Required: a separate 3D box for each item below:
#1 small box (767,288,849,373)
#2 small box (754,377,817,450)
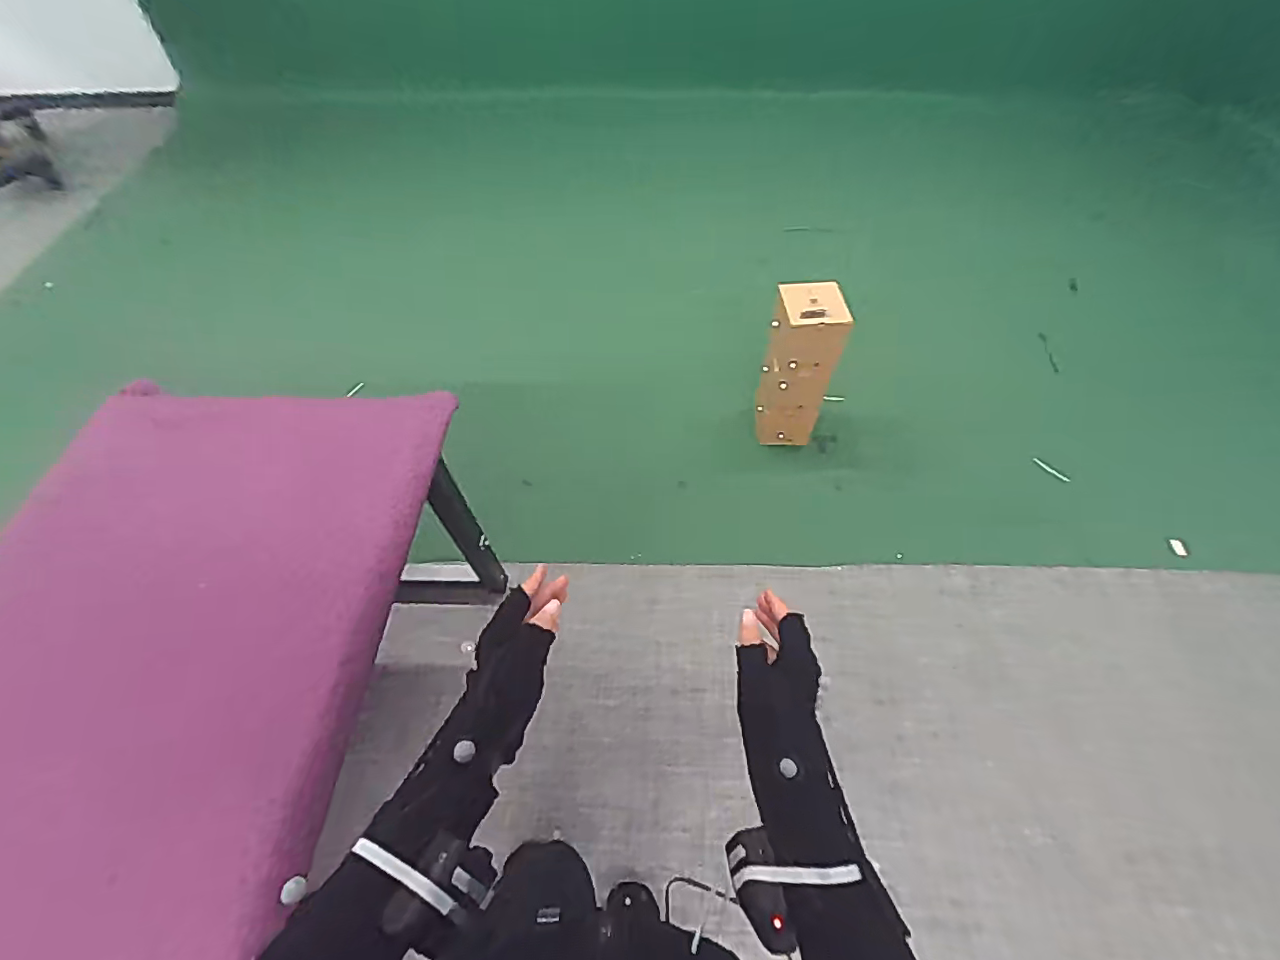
[{"bbox_3d":[0.469,-0.419,1.534,0.168,0.176,0.179,-3,54,-1],"label":"small box"},{"bbox_3d":[0.476,-0.220,1.797,0.168,0.176,0.179,1,56,2],"label":"small box"}]
